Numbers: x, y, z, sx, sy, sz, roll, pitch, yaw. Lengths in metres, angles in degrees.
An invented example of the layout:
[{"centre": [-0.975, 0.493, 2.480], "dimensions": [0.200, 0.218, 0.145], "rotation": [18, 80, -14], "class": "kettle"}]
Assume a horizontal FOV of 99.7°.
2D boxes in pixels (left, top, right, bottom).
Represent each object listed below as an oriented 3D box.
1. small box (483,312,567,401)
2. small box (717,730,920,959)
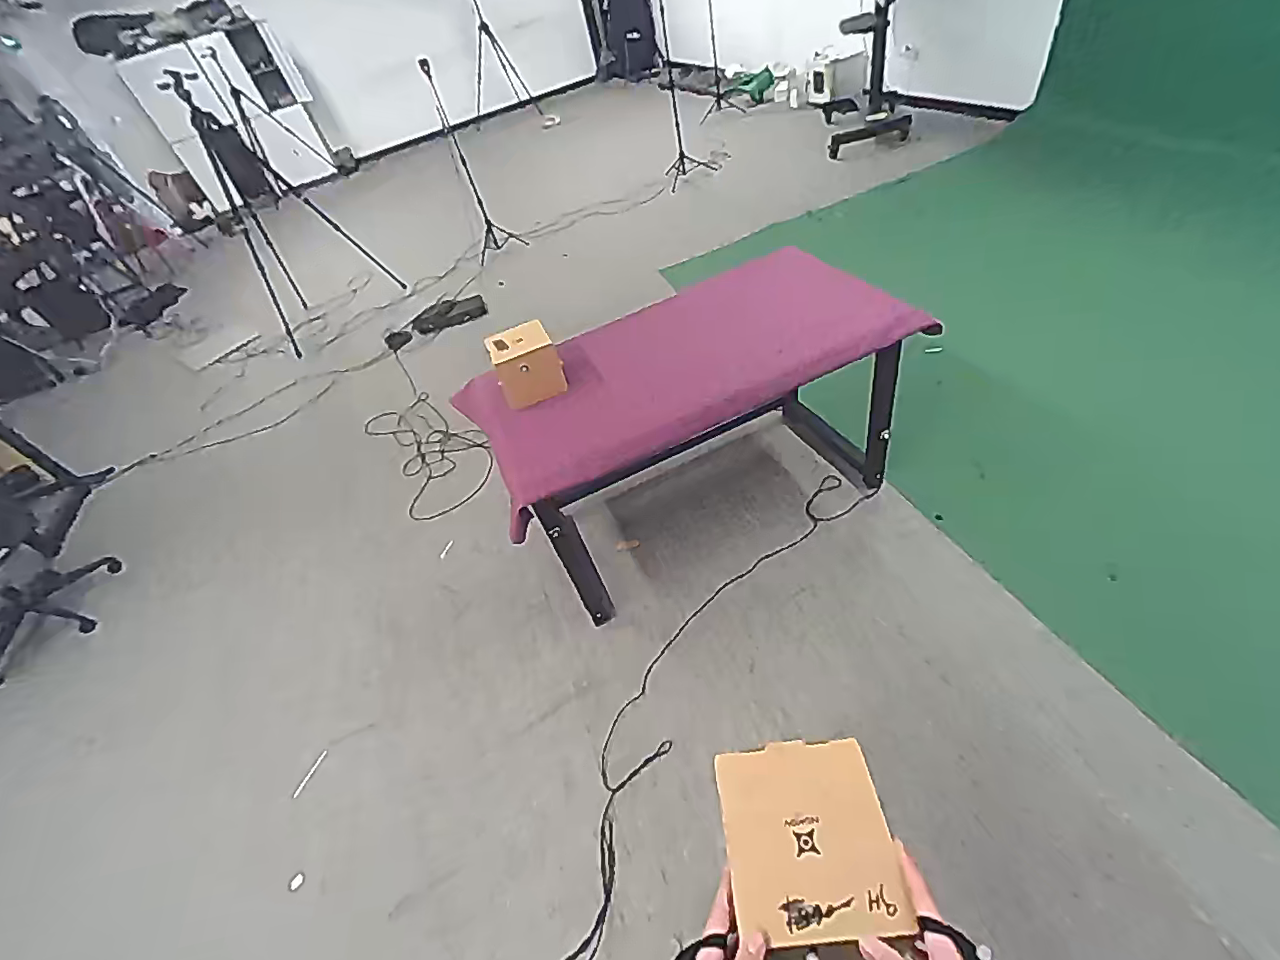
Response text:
[{"centre": [-0.334, -0.359, 1.583], "dimensions": [0.179, 0.176, 0.168], "rotation": [-24, 46, -8], "class": "small box"}, {"centre": [0.184, 0.409, 0.606], "dimensions": [0.168, 0.176, 0.179], "rotation": [-10, 42, 6], "class": "small box"}]
